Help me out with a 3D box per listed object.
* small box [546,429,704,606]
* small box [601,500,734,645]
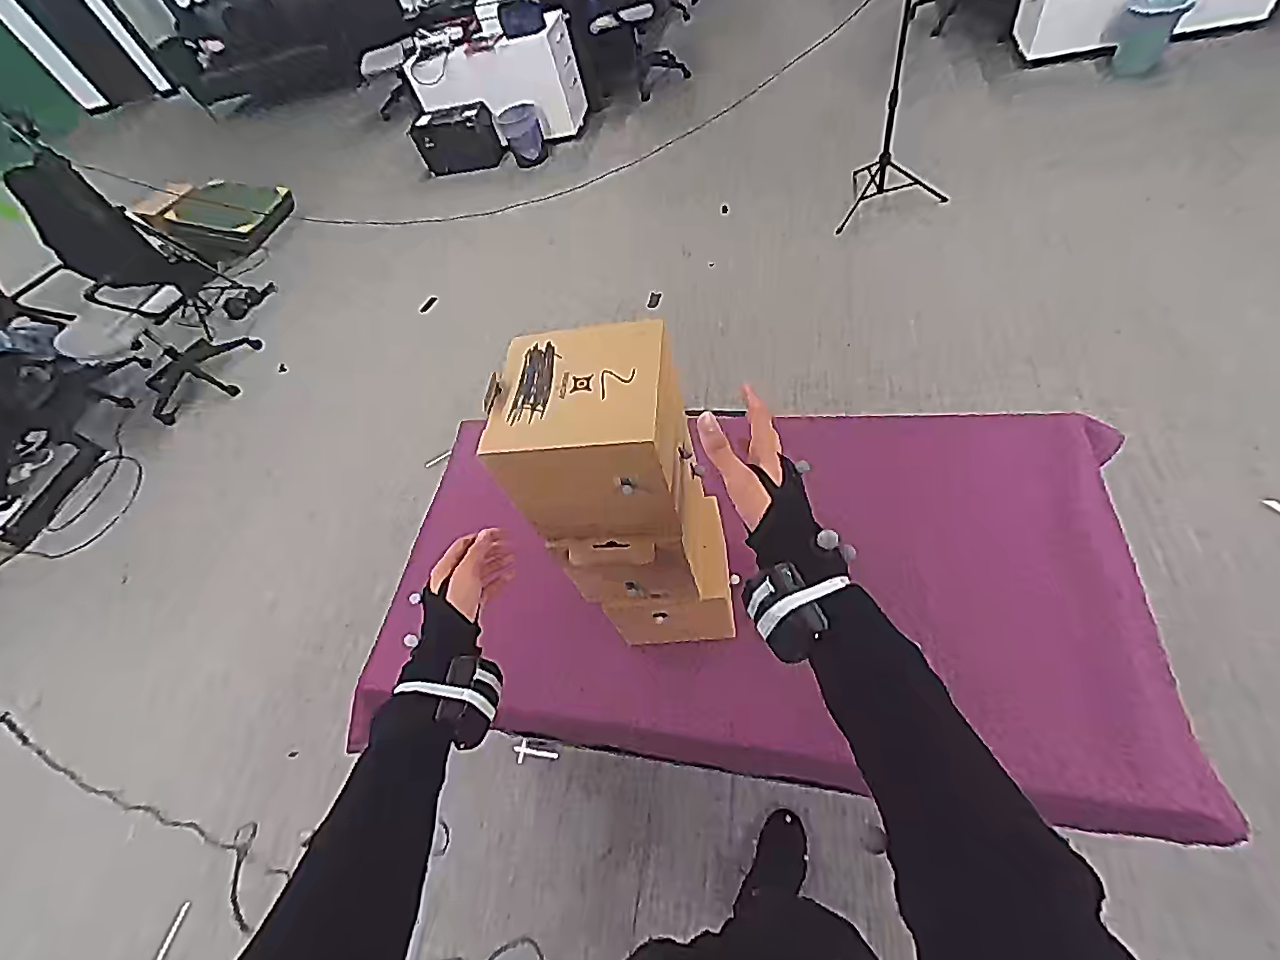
[{"bbox_3d":[-0.007,0.054,0.728,0.168,0.176,0.179,-3,55,14],"label":"small box"},{"bbox_3d":[0.048,0.152,0.850,0.179,0.176,0.168,-7,55,10],"label":"small box"}]
